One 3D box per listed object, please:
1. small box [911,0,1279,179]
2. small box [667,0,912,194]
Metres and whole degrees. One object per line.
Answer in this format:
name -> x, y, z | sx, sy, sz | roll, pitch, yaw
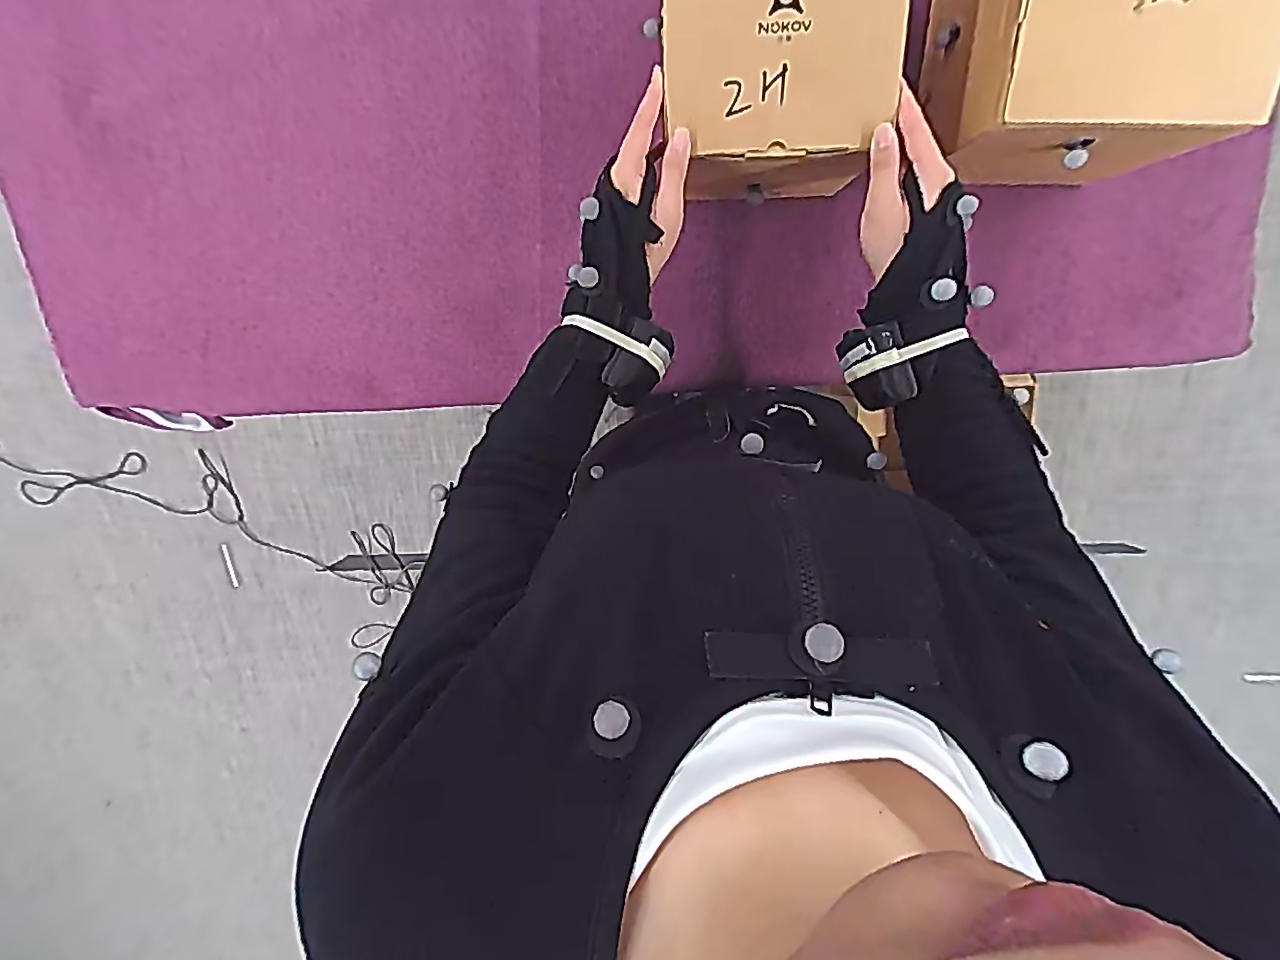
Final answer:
small box -> 0.347, -0.349, 0.425 | 0.179, 0.176, 0.168 | 3, 107, 4
small box -> 0.106, -0.349, 0.441 | 0.168, 0.176, 0.179 | 1, 108, 5
